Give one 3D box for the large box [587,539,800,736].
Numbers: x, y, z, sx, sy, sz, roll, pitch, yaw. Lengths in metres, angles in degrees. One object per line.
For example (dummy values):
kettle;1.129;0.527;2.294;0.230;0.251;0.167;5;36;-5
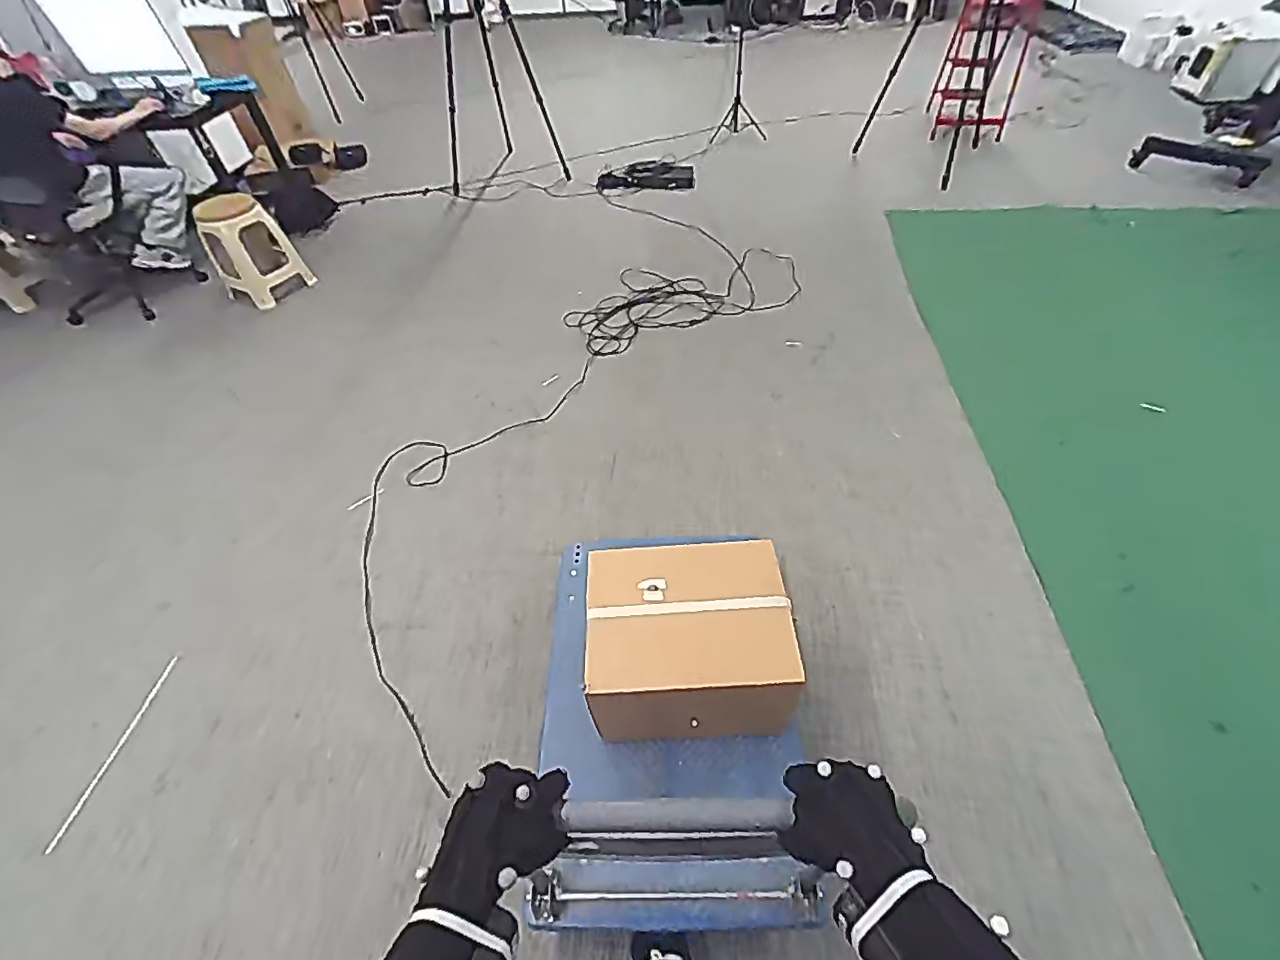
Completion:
large box;0.107;0.358;1.206;0.408;0.320;0.320;-5;48;3
